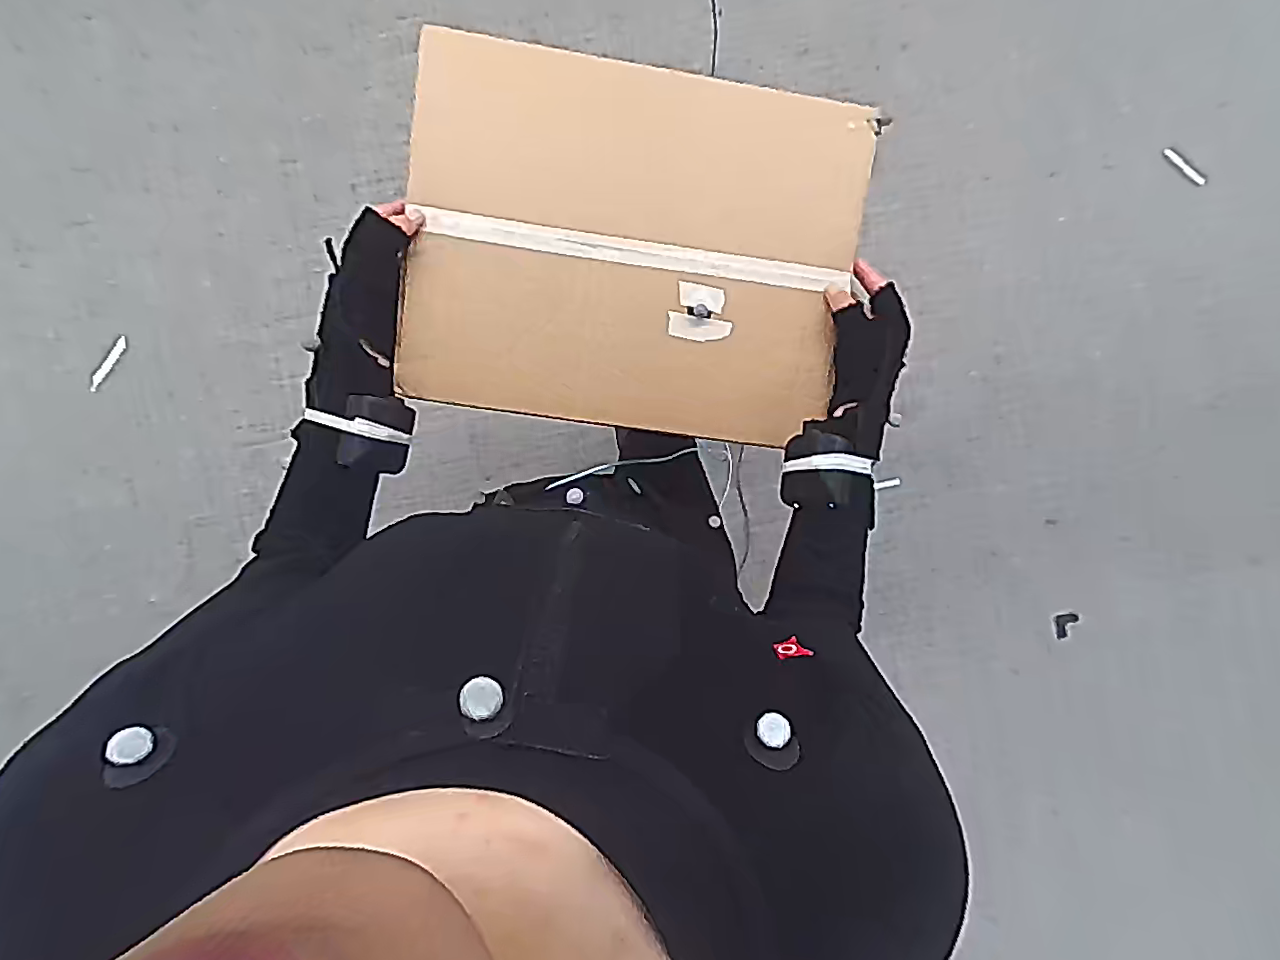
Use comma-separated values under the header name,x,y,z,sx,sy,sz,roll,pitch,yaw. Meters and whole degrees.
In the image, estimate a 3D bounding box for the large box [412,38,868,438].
name,x,y,z,sx,sy,sz,roll,pitch,yaw
large box,-0.013,-0.232,0.651,0.408,0.320,0.320,8,97,-5
